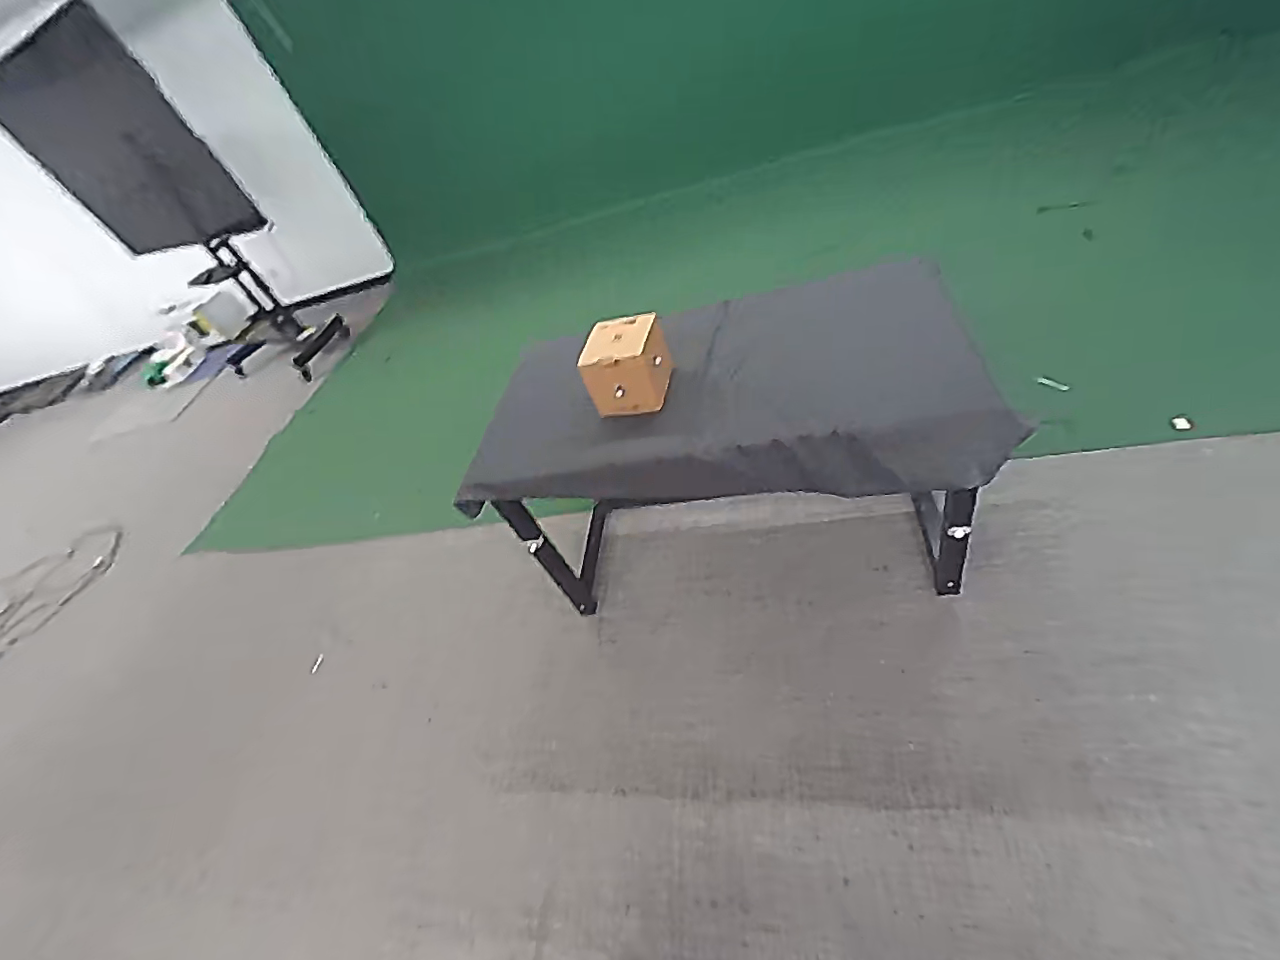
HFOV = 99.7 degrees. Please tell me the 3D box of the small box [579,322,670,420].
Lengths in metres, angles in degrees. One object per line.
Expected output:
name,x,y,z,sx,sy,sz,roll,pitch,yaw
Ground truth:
small box,-0.031,-0.265,1.364,0.168,0.176,0.179,-6,46,20
